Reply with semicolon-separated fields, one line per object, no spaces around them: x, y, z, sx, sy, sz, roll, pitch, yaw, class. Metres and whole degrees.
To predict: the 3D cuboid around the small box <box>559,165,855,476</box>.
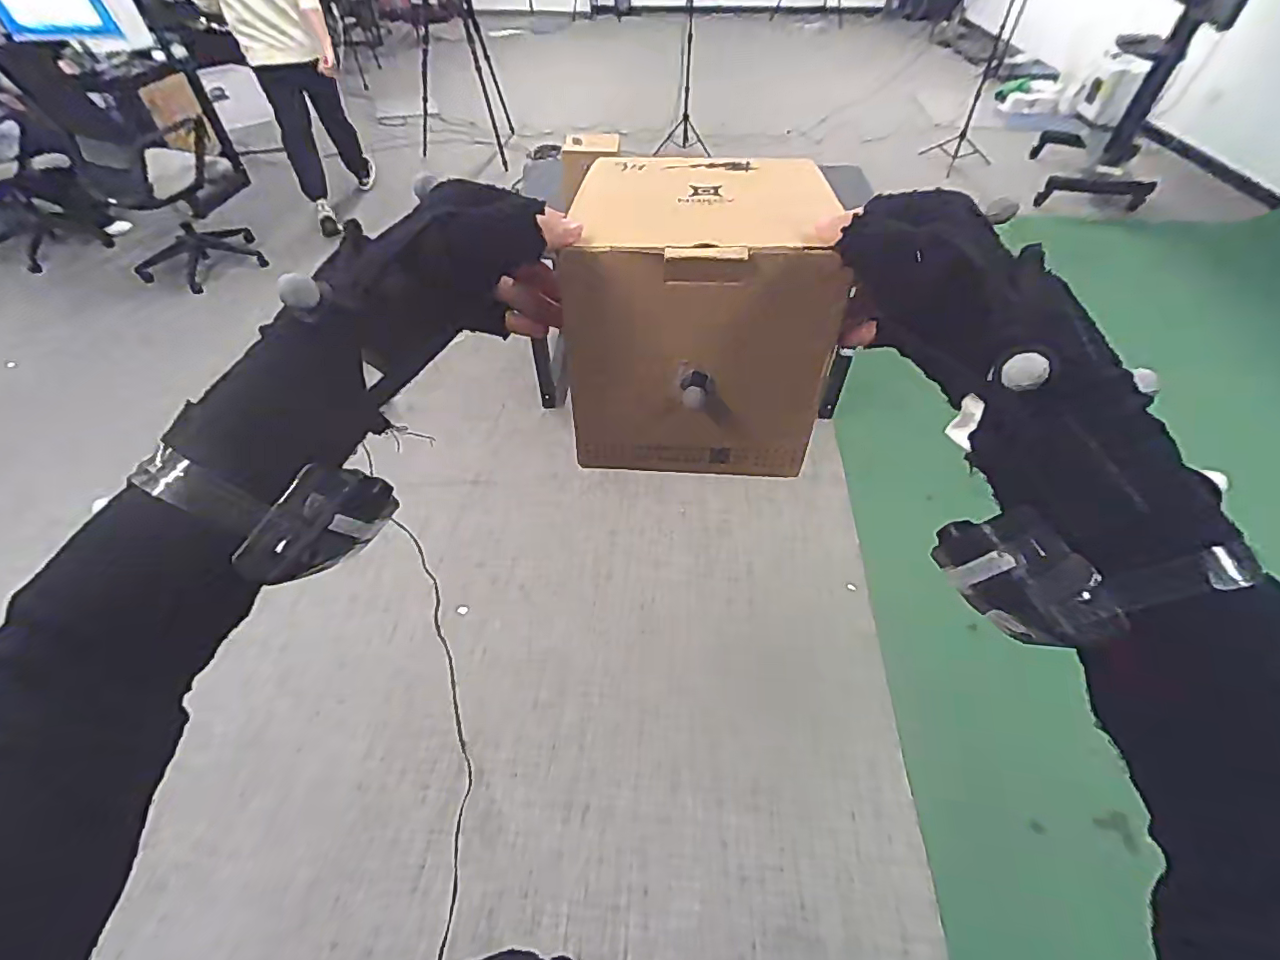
0.045;-0.119;0.408;0.168;0.176;0.179;3;45;4;small box

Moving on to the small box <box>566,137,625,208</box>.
-0.140;-1.007;1.776;0.179;0.176;0.168;2;49;0;small box
